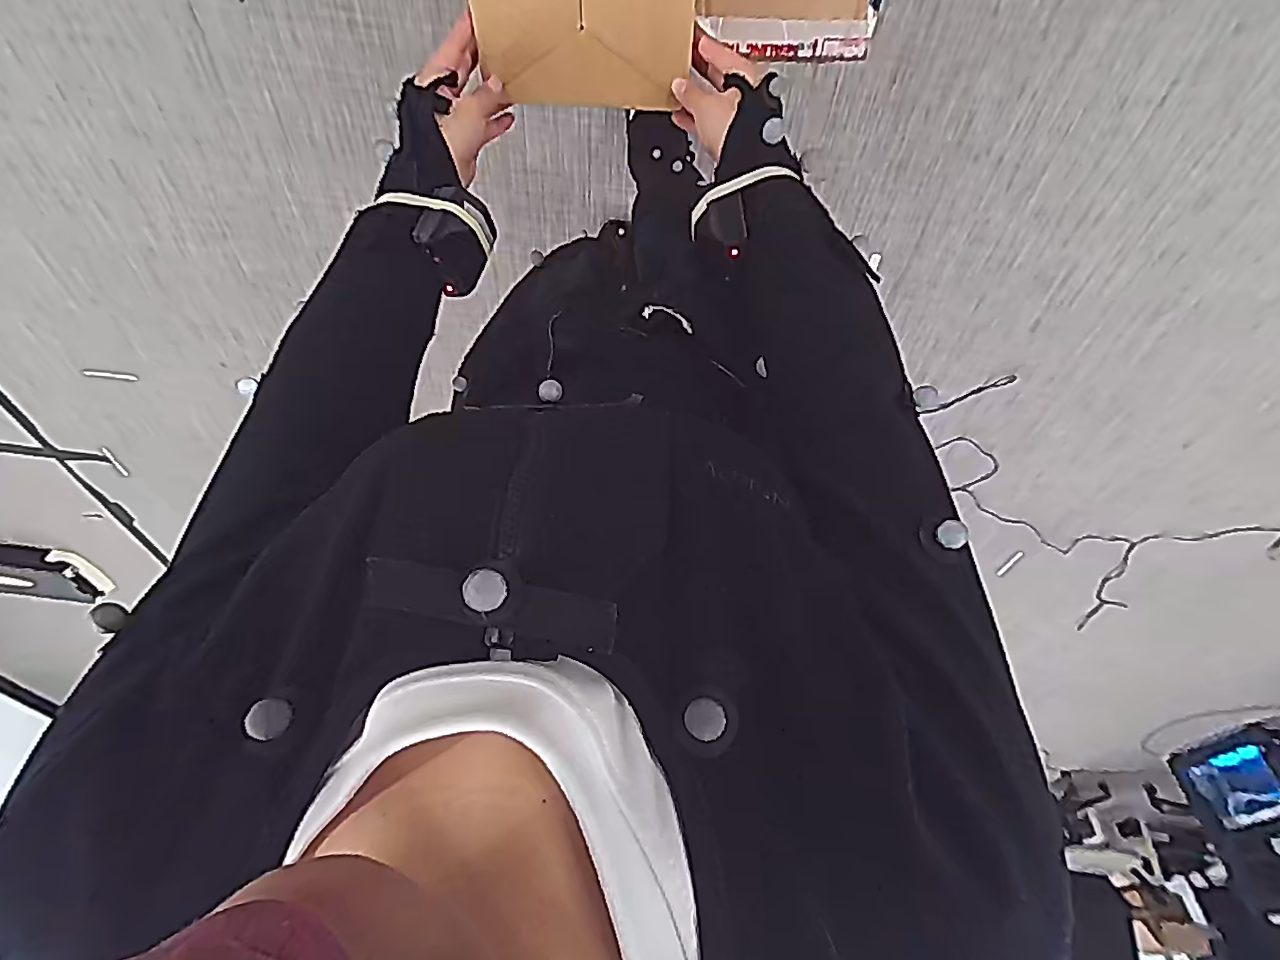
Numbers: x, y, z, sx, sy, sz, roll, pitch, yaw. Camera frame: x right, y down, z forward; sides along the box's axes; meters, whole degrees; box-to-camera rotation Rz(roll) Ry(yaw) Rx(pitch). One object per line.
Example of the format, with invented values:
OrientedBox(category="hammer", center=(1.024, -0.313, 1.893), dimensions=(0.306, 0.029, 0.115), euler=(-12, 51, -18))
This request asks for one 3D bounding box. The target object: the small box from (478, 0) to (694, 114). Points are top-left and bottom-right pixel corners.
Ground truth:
OrientedBox(category="small box", center=(-0.041, -0.433, 0.463), dimensions=(0.179, 0.176, 0.168), euler=(4, 137, 2))
